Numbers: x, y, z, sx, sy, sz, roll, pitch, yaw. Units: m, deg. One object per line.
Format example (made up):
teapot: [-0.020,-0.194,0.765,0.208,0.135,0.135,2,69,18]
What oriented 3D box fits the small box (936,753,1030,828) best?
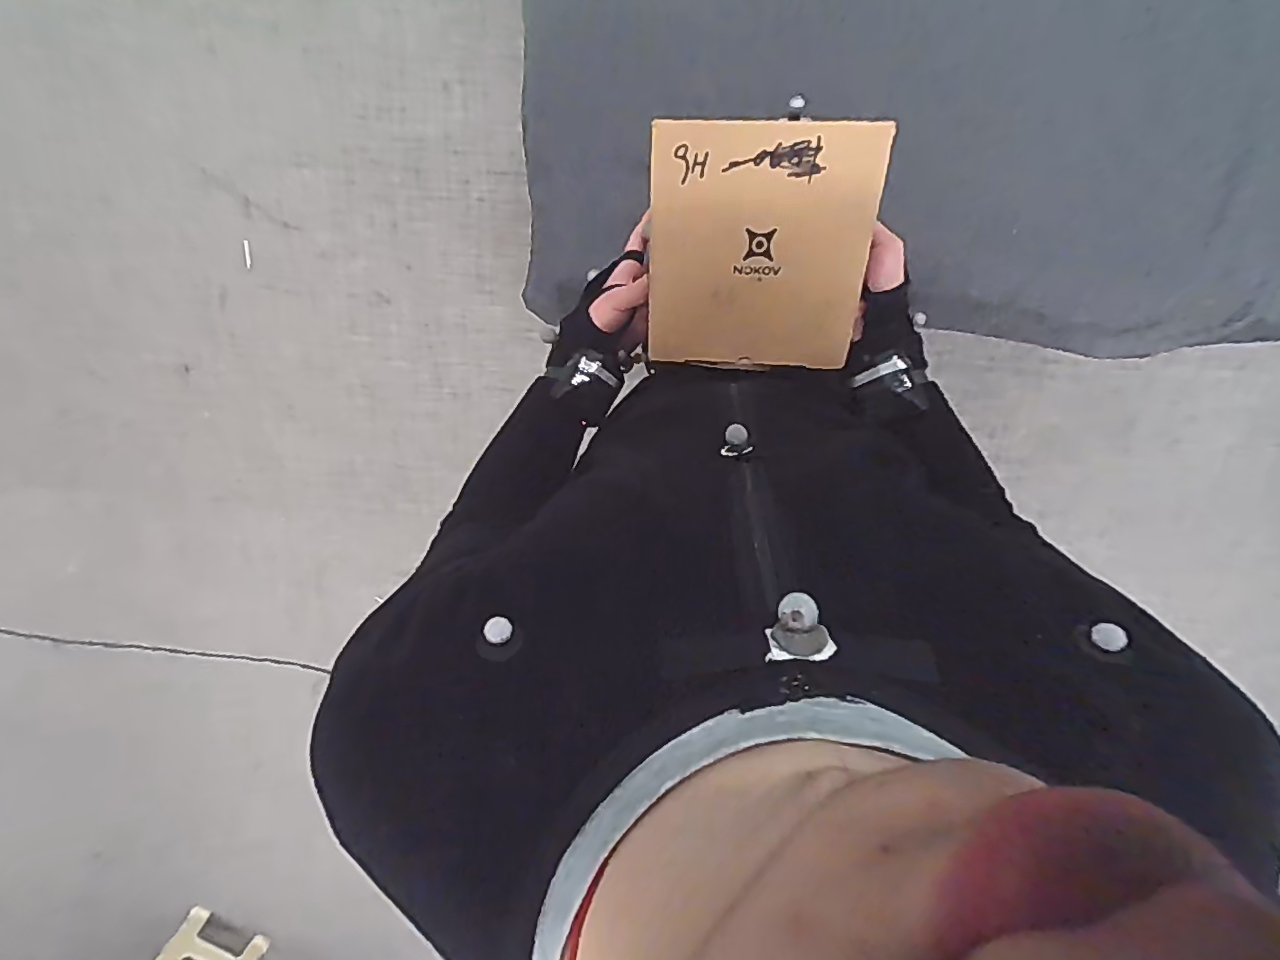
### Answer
small box: [1.140,1.054,1.812,0.179,0.176,0.168,15,107,-1]

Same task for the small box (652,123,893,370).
small box: [0.101,-0.217,0.492,0.168,0.176,0.179,3,124,3]
